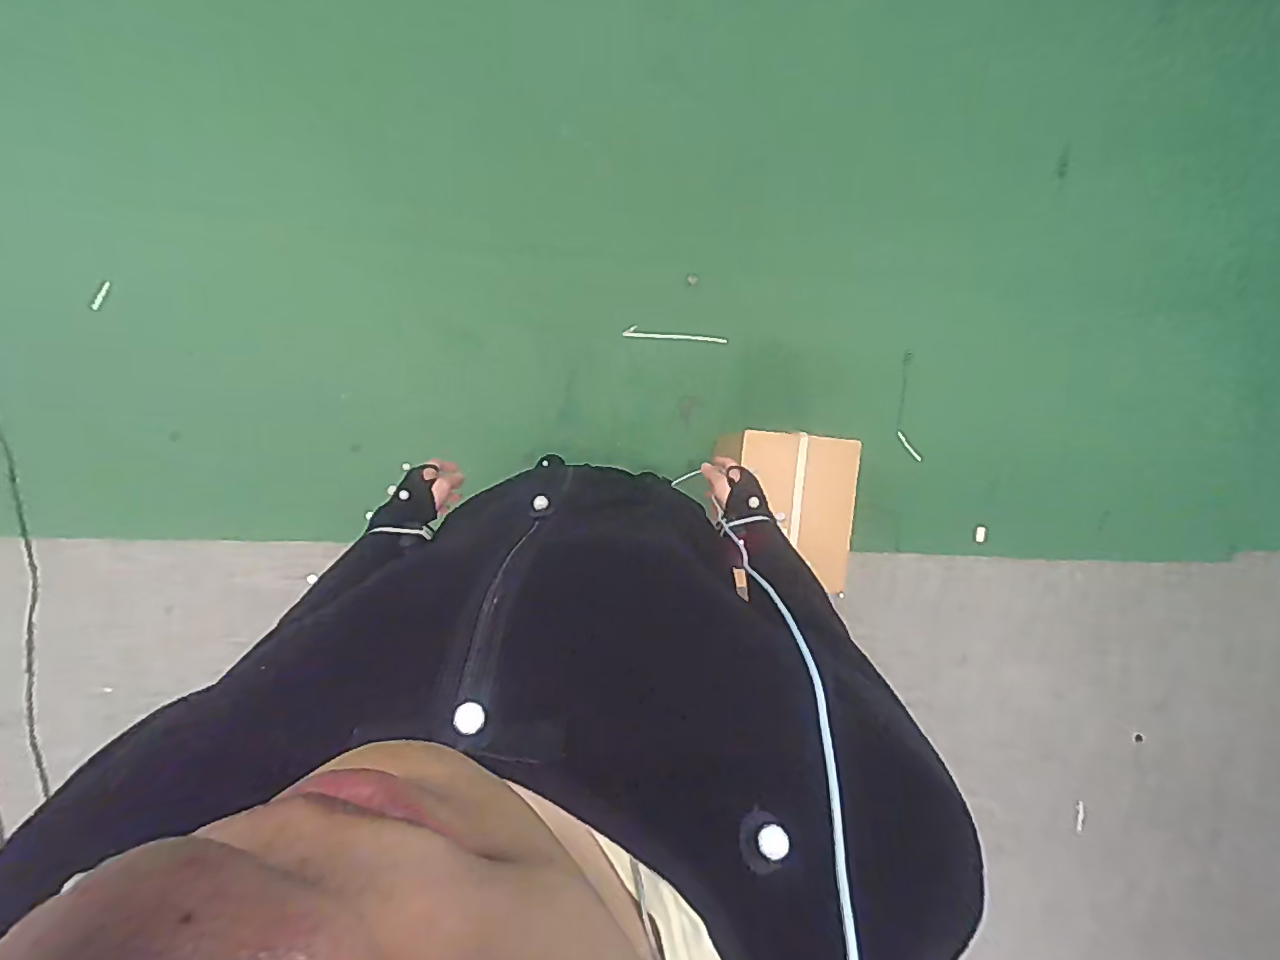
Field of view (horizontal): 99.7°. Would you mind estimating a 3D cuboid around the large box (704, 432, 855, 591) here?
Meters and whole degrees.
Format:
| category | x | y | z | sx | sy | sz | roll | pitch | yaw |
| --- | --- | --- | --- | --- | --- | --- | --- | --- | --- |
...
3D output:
| category | x | y | z | sx | sy | sz | roll | pitch | yaw |
| --- | --- | --- | --- | --- | --- | --- | --- | --- | --- |
| large box | 0.380 | 0.074 | 1.550 | 0.320 | 0.320 | 0.408 | 5 | 93 | -5 |
